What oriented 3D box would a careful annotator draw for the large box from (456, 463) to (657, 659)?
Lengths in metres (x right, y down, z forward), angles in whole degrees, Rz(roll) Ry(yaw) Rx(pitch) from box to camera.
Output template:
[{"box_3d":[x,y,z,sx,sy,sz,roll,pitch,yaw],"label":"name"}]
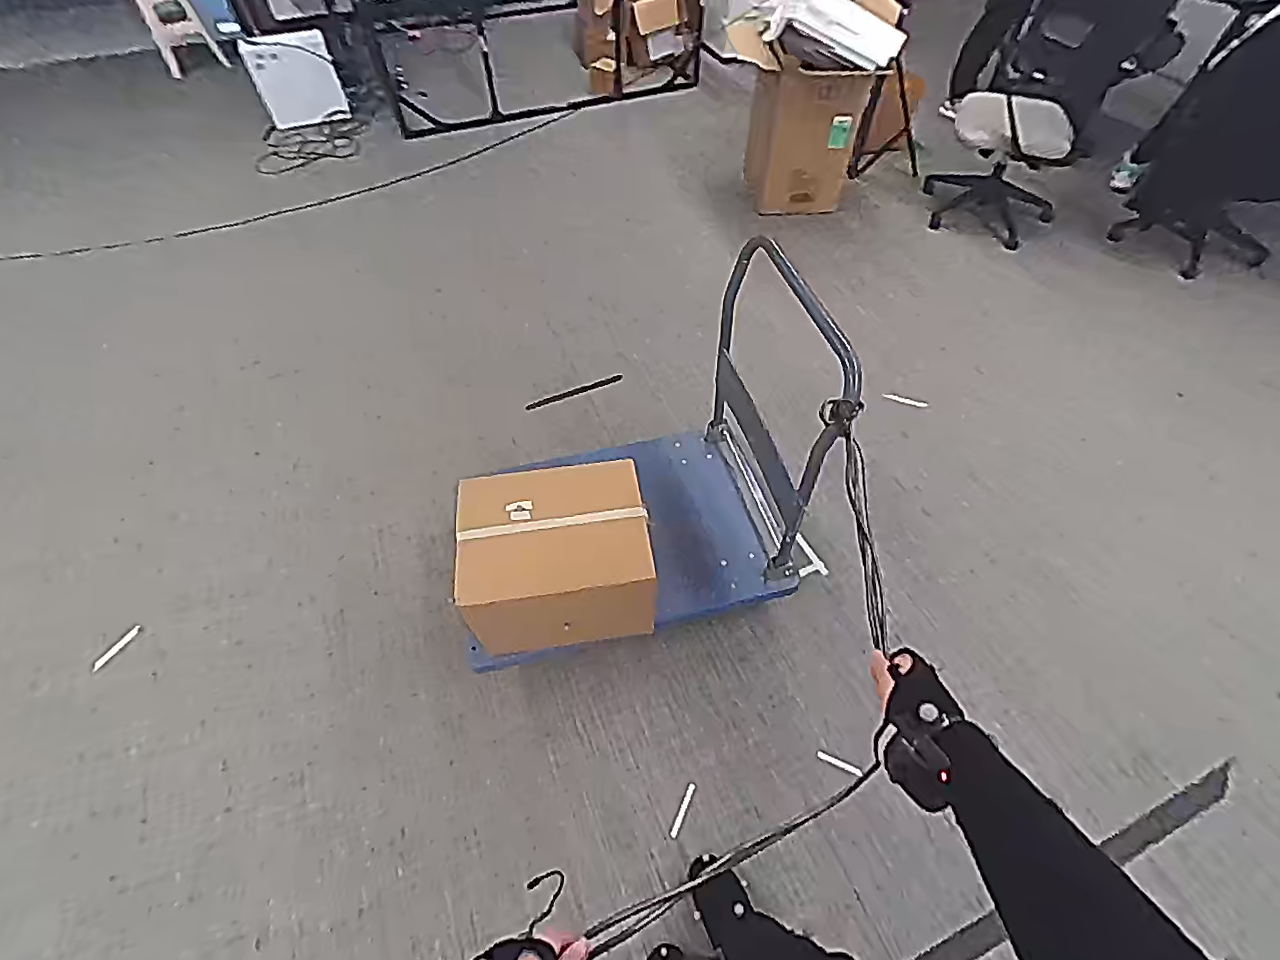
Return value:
[{"box_3d":[-0.185,0.196,1.272,0.408,0.320,0.320,-8,54,-5],"label":"large box"}]
